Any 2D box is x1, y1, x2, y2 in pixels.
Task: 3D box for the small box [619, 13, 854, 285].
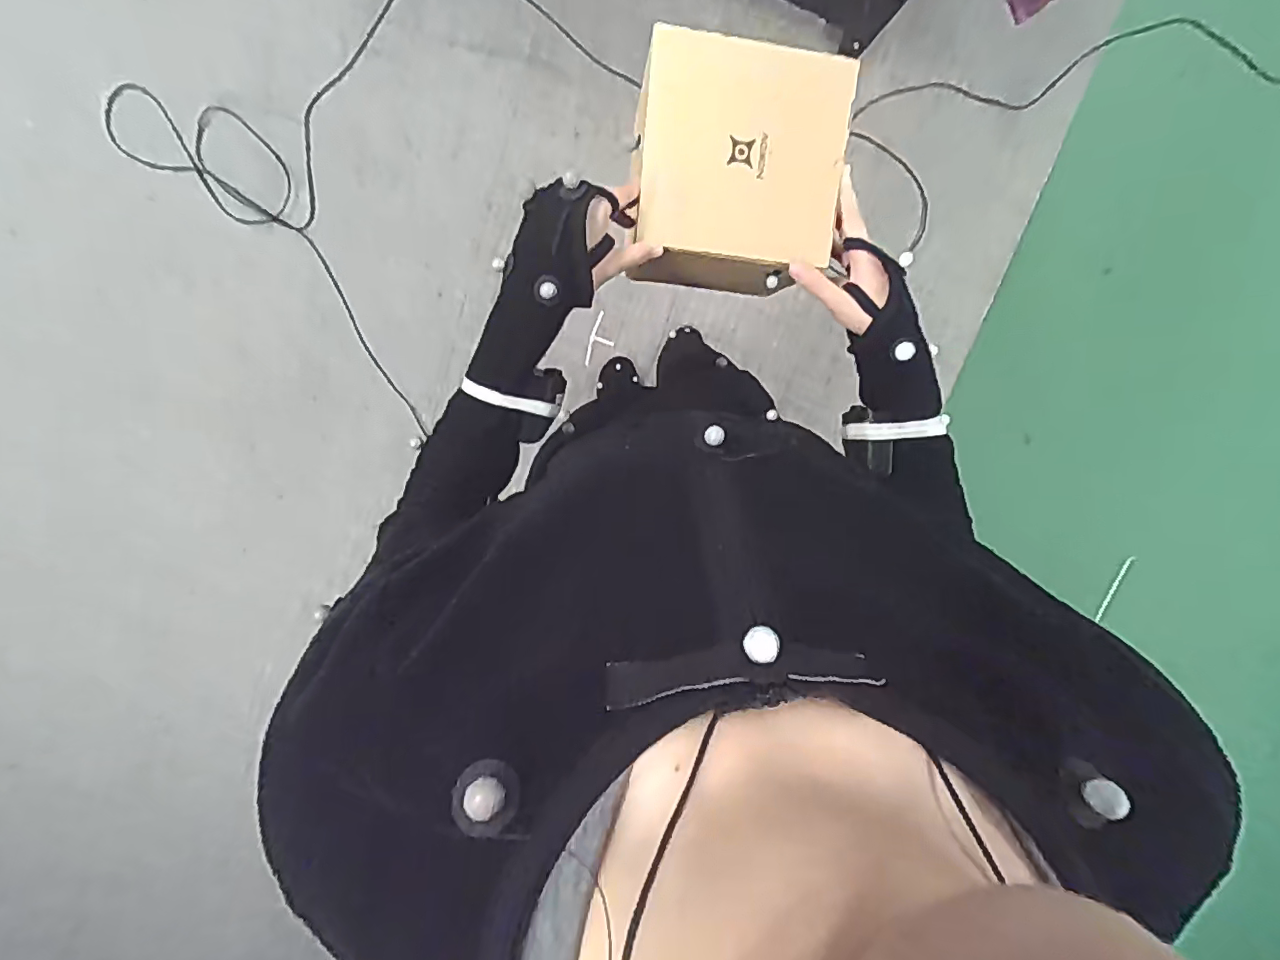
[{"bbox_3d":[0.075,-0.296,0.527,0.179,0.176,0.168,4,100,-8],"label":"small box"}]
